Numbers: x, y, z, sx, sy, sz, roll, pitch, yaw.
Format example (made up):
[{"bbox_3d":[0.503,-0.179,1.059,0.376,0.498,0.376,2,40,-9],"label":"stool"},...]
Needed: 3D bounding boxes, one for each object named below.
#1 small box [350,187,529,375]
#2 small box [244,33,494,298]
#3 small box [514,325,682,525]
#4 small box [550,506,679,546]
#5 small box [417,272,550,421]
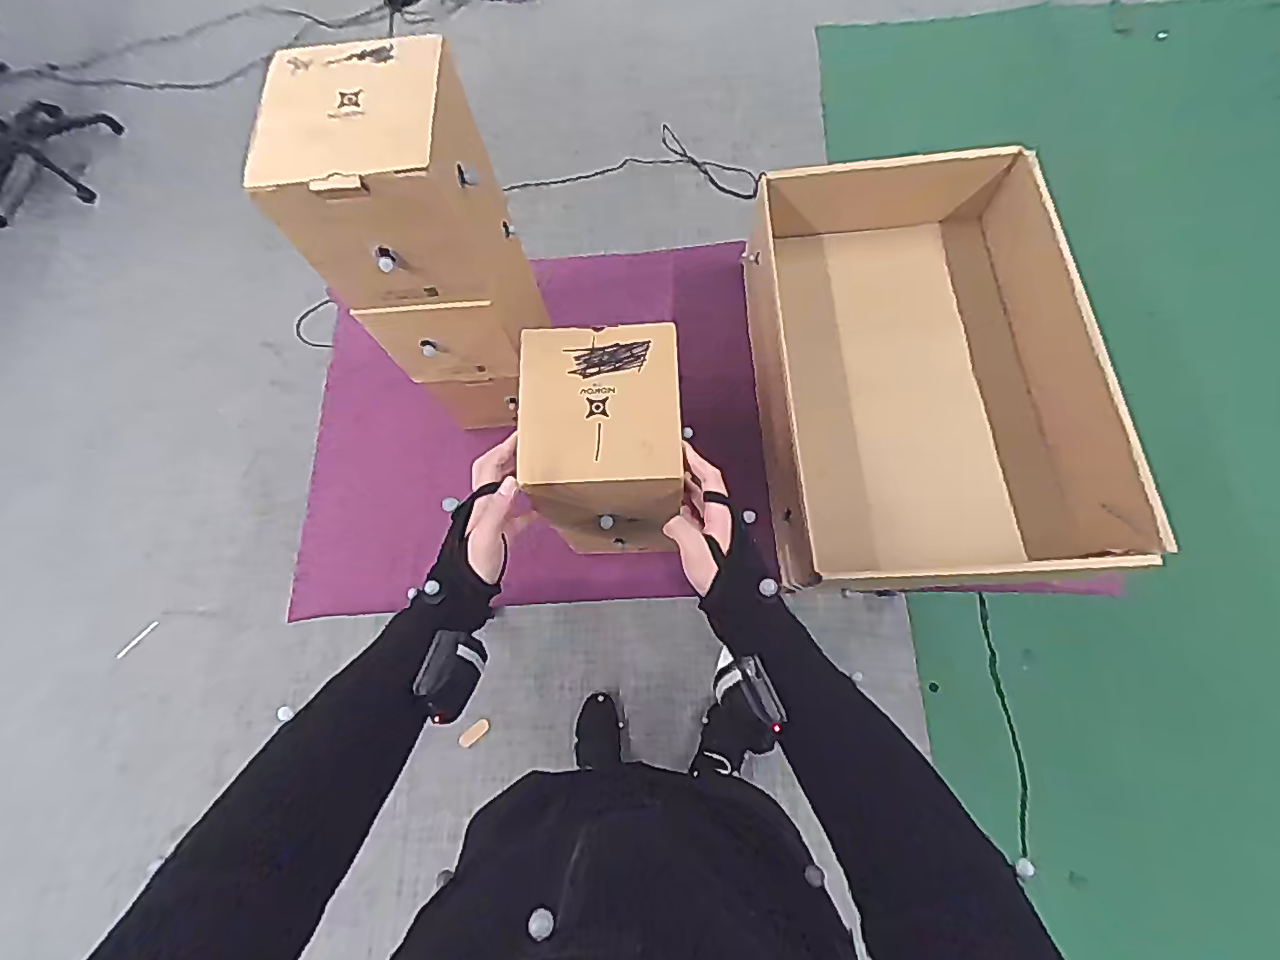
[{"bbox_3d":[-0.248,-0.250,0.714,0.168,0.176,0.179,-3,71,3],"label":"small box"},{"bbox_3d":[-0.257,-0.306,0.560,0.168,0.176,0.179,-4,72,2],"label":"small box"},{"bbox_3d":[-0.040,-0.055,0.625,0.168,0.176,0.179,-3,71,3],"label":"small box"},{"bbox_3d":[-0.028,-0.002,0.781,0.168,0.176,0.179,-2,71,3],"label":"small box"},{"bbox_3d":[-0.236,-0.203,0.868,0.168,0.176,0.179,-3,71,2],"label":"small box"}]
